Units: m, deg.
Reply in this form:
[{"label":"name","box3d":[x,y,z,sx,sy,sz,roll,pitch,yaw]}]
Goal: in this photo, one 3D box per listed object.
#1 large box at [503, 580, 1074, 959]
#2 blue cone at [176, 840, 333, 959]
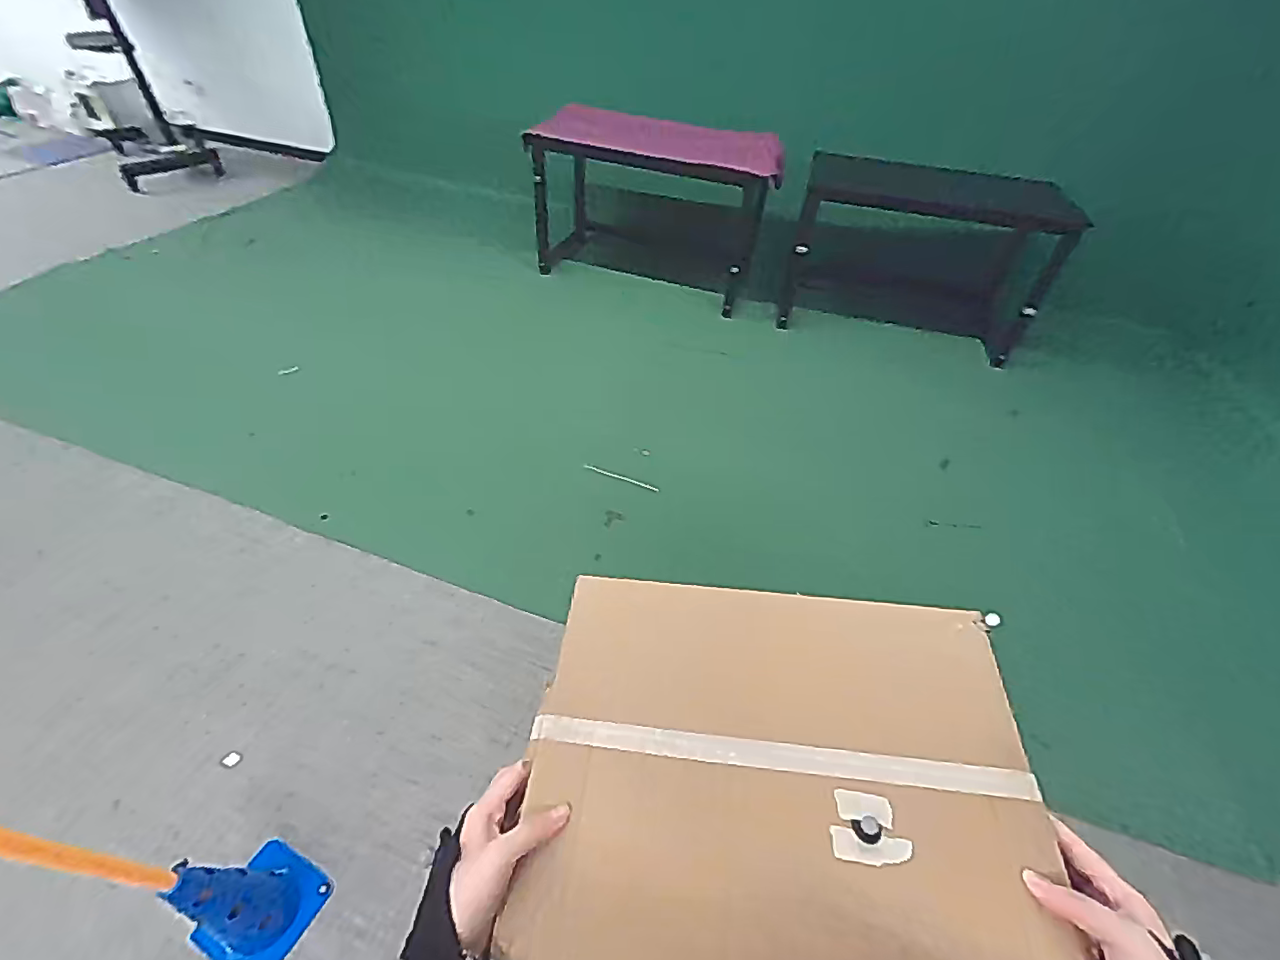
[{"label":"large box","box3d":[0.115,0.332,0.575,0.408,0.320,0.320,4,48,6]},{"label":"blue cone","box3d":[-0.769,0.773,1.021,0.193,0.380,0.192,24,47,18]}]
